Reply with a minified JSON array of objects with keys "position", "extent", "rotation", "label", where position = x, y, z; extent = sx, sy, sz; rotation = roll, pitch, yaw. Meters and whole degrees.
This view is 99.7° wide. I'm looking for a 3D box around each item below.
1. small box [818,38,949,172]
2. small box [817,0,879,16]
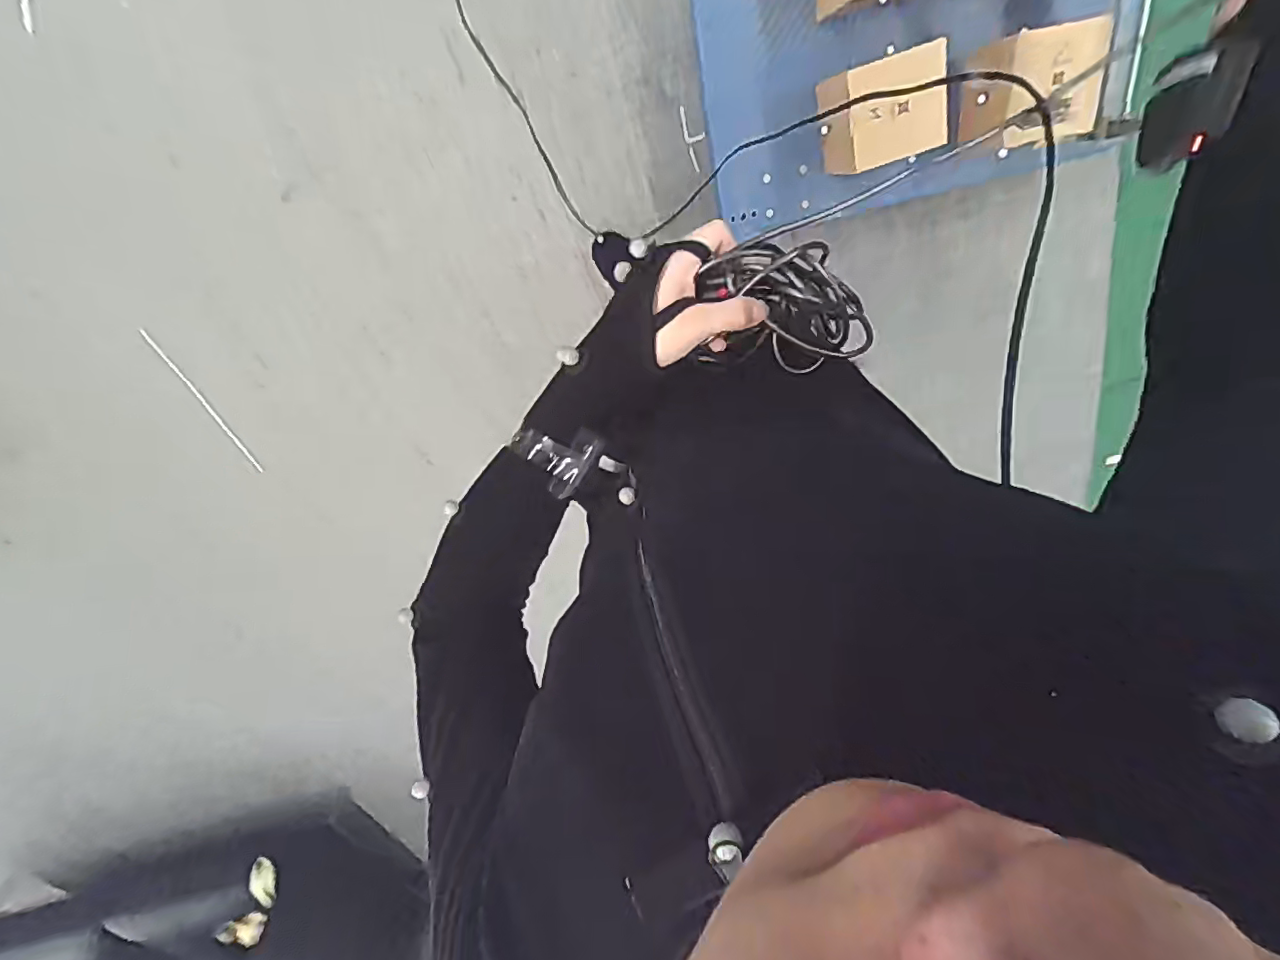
[{"position":[0.463,-0.711,1.041],"extent":[0.179,0.176,0.168],"rotation":[-16,119,6],"label":"small box"},{"position":[0.405,-0.924,0.913],"extent":[0.179,0.176,0.168],"rotation":[-14,121,4],"label":"small box"}]
